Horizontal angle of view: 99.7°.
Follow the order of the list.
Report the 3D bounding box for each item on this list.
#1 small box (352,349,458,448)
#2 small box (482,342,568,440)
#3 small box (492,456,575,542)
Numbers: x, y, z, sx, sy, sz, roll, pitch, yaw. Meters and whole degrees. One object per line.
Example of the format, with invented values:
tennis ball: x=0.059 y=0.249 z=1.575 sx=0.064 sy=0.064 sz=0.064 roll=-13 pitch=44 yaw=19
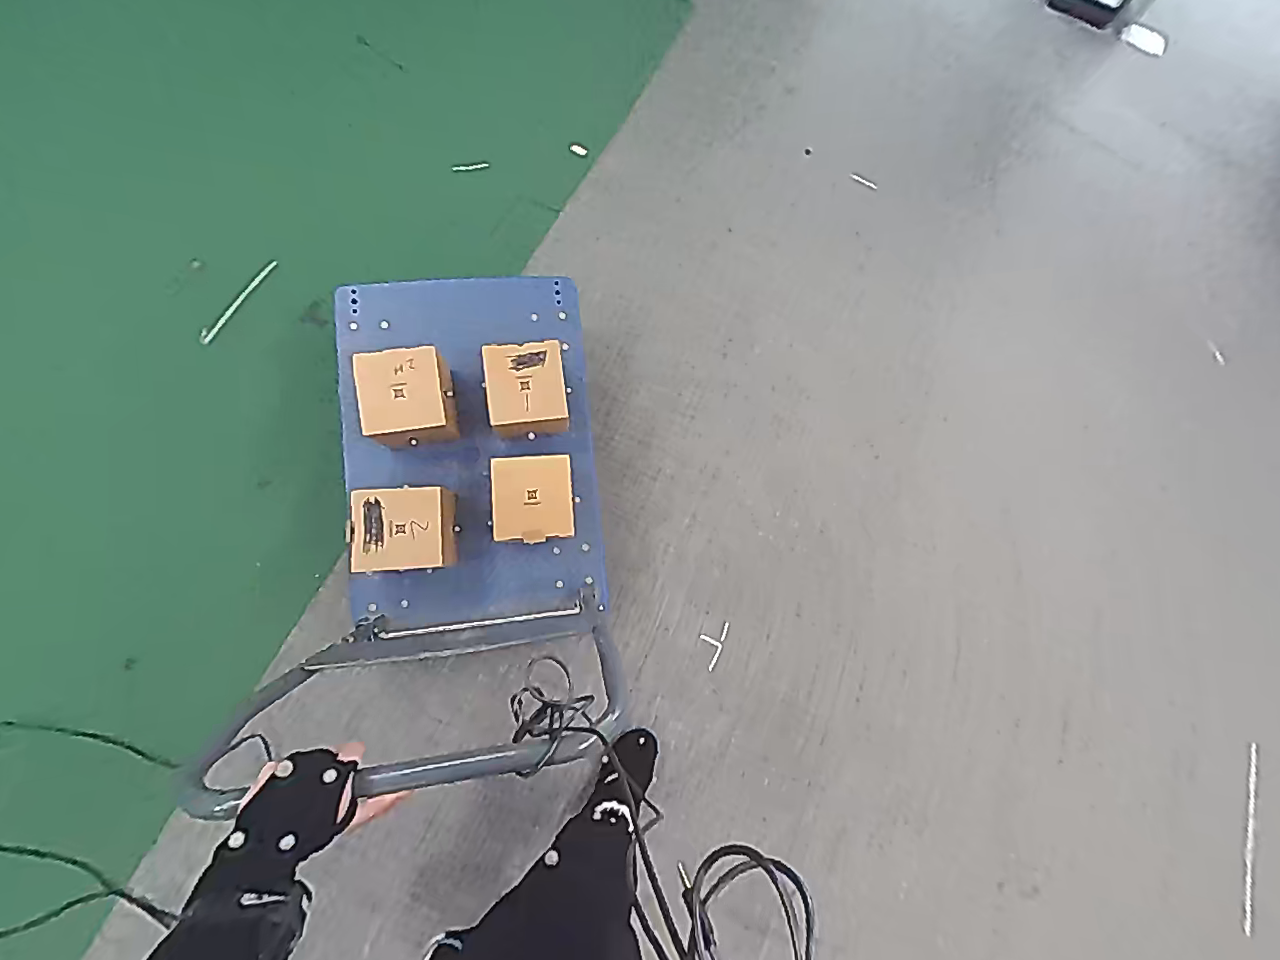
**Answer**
small box: x=-0.509 y=-0.172 z=1.194 sx=0.168 sy=0.176 sz=0.179 roll=-9 pitch=85 yaw=-9
small box: x=-0.256 y=-0.197 z=1.229 sx=0.168 sy=0.176 sz=0.179 roll=-7 pitch=86 yaw=-8
small box: x=-0.235 y=0.046 z=1.208 sx=0.168 sy=0.176 sz=0.179 roll=-4 pitch=86 yaw=-8
